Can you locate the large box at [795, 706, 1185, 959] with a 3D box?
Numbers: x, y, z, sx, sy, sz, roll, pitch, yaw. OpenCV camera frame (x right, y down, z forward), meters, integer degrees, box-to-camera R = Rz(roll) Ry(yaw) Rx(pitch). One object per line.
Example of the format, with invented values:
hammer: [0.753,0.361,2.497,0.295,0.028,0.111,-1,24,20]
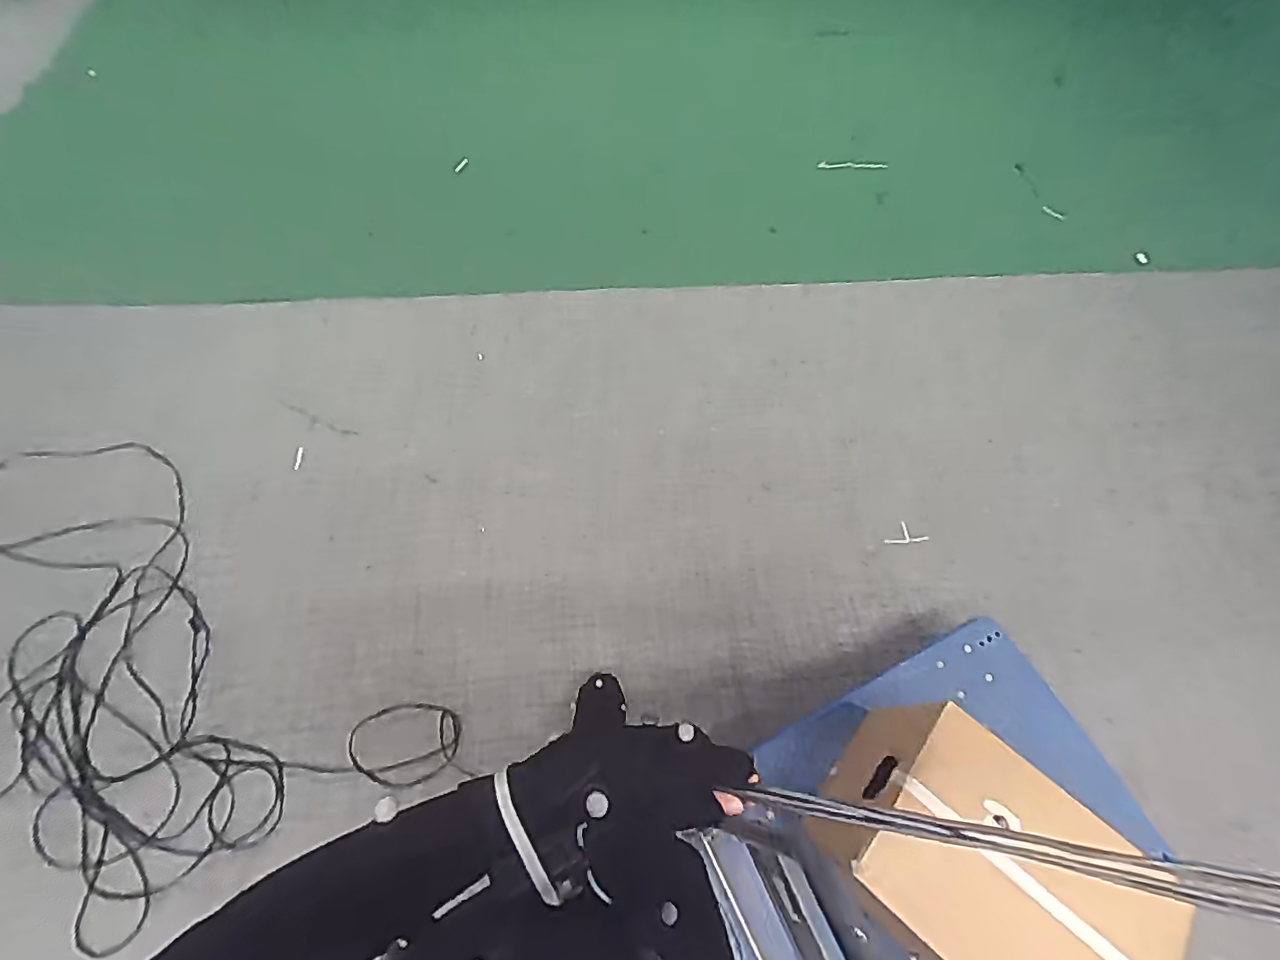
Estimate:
large box: [0.549,0.657,0.923,0.408,0.320,0.320,39,67,16]
